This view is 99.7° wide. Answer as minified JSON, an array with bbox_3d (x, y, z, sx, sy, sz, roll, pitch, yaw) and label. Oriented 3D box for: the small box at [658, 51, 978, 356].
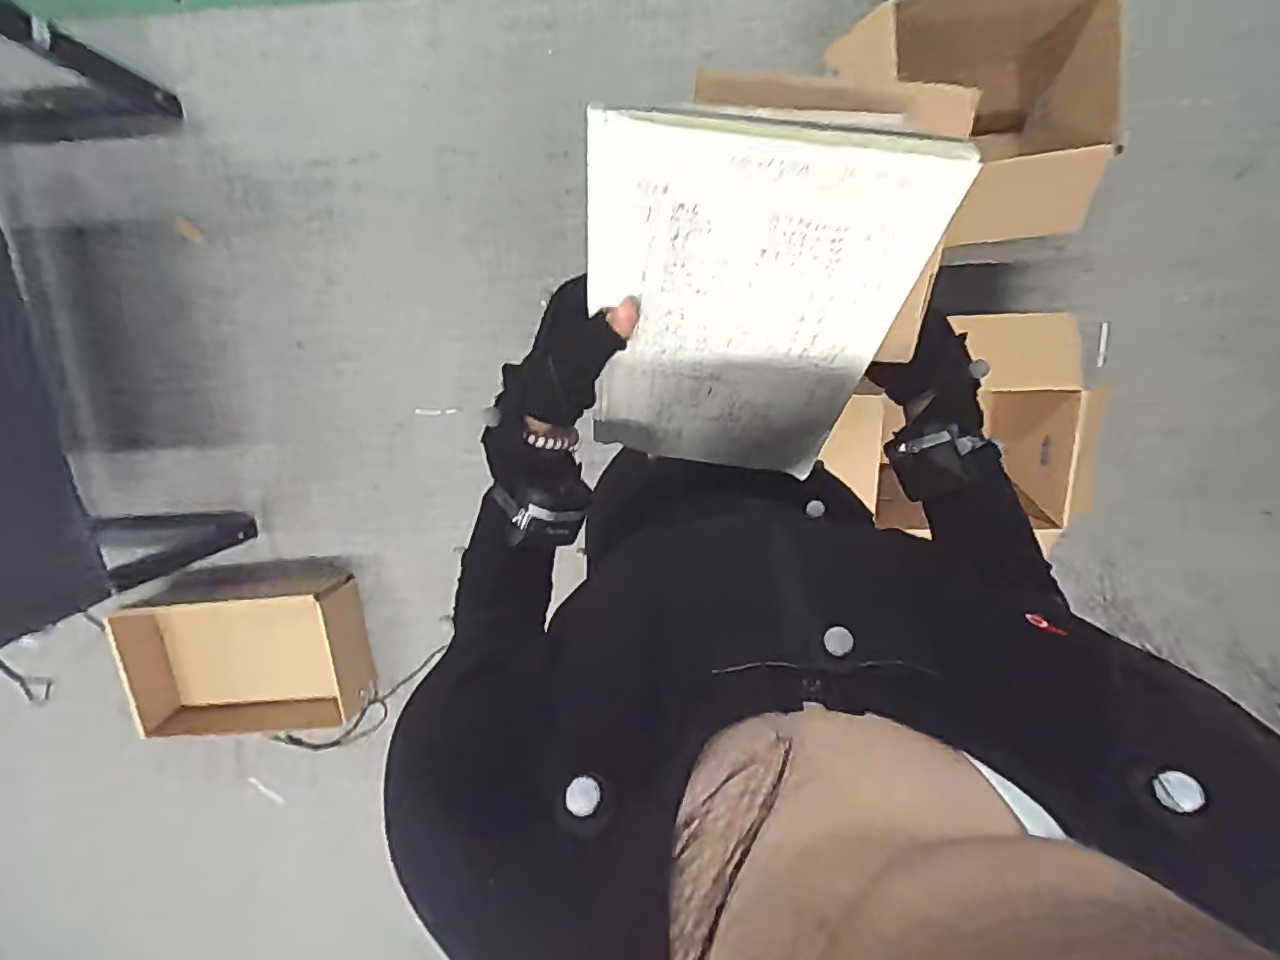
[{"bbox_3d":[0.110,-0.199,0.423,0.179,0.176,0.168,5,112,-1],"label":"small box"}]
